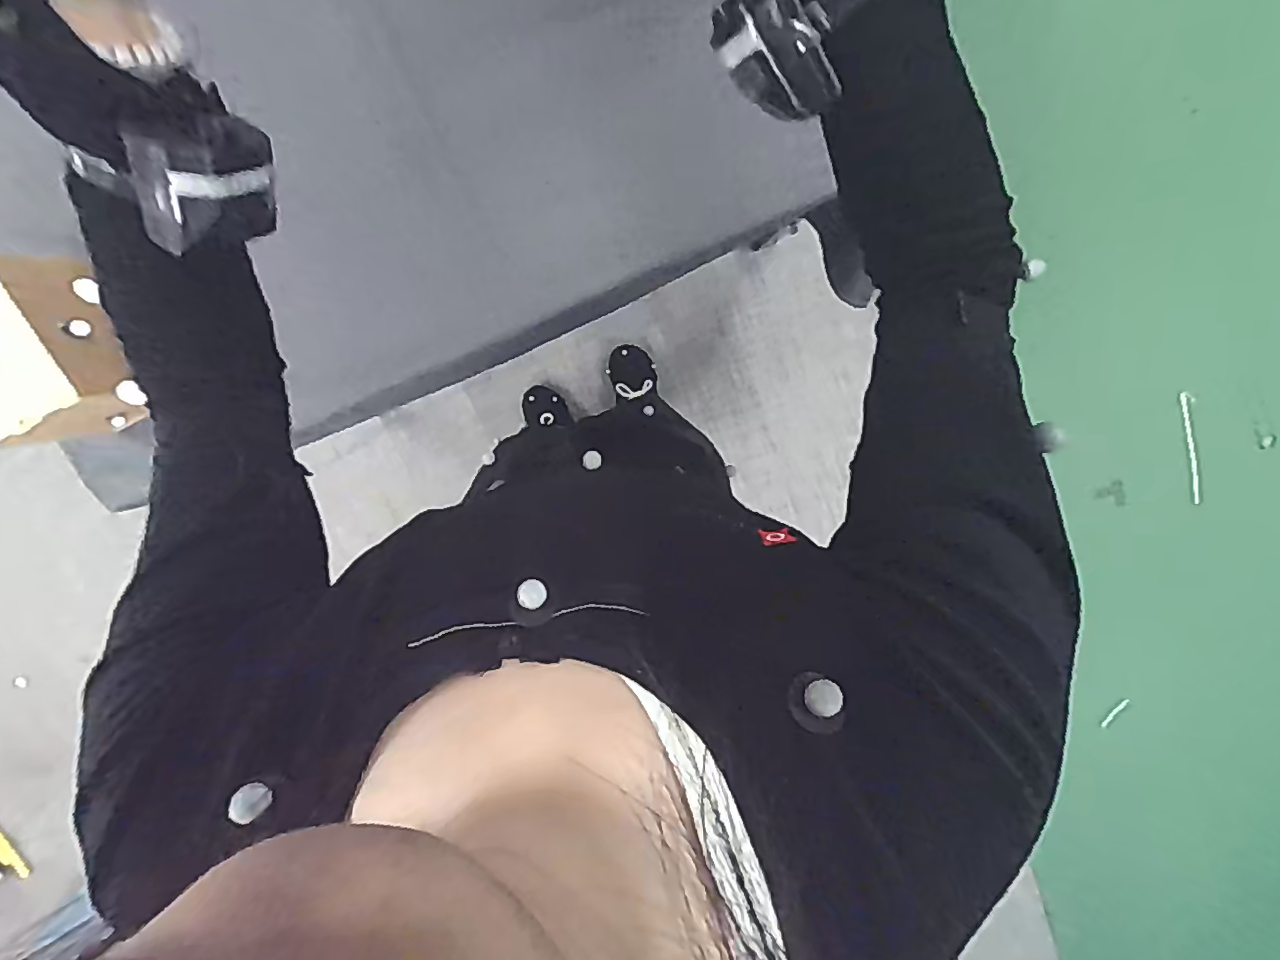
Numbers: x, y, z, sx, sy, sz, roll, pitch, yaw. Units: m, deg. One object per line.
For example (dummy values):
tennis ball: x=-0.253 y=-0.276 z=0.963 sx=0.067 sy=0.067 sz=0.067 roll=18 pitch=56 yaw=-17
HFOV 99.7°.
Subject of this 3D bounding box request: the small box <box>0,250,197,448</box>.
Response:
small box: x=-0.720 y=-0.154 z=0.666 sx=0.168 sy=0.176 sz=0.179 roll=-23 pitch=103 yaw=9
